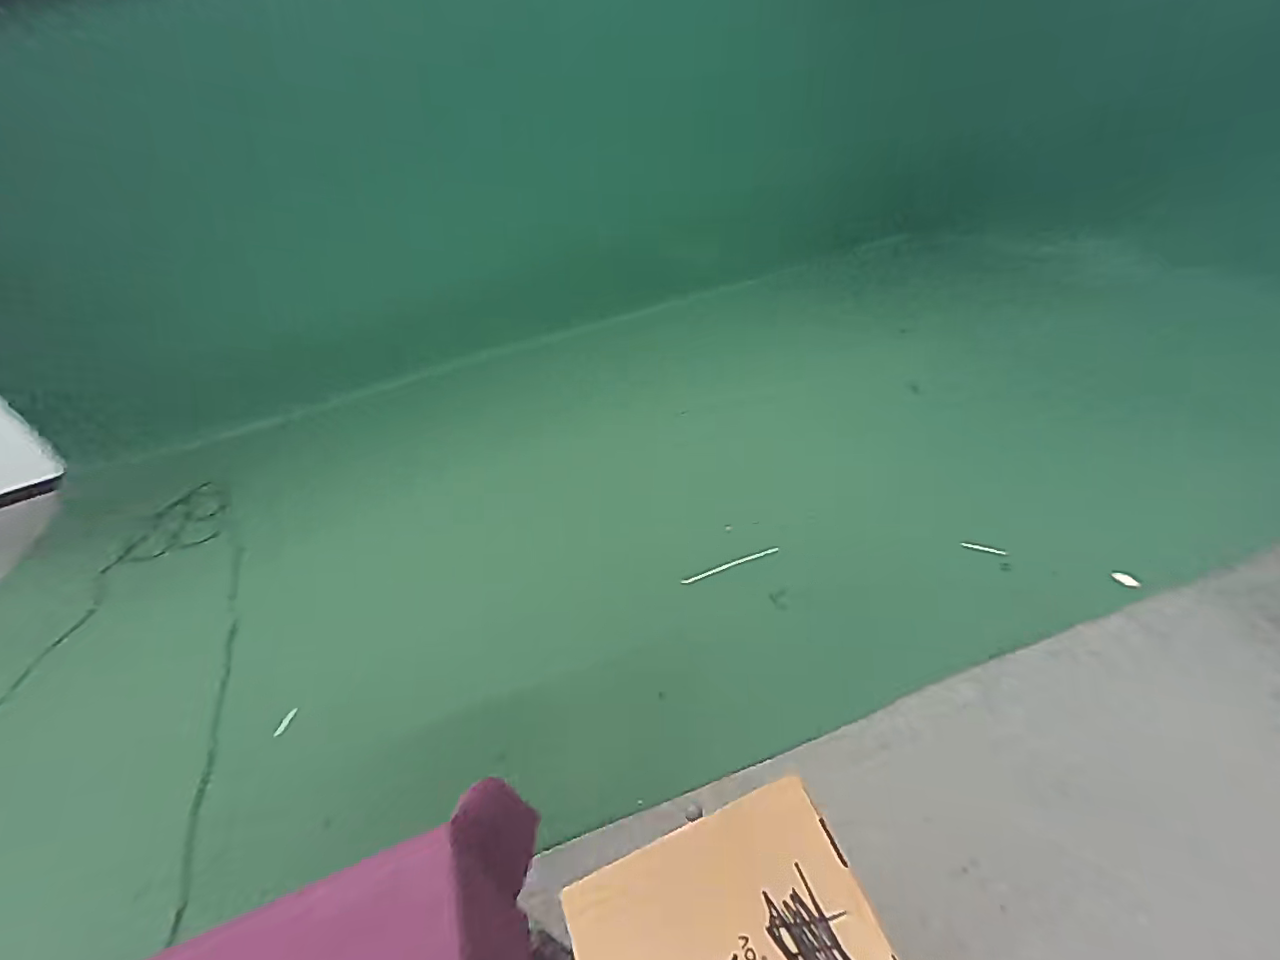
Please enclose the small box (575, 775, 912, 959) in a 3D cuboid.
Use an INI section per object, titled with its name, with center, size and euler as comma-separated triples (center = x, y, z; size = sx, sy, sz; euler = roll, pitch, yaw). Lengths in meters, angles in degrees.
[small box]
center = 0.072, 0.332, 0.372
size = 0.179, 0.176, 0.168
euler = -21, 54, -8
